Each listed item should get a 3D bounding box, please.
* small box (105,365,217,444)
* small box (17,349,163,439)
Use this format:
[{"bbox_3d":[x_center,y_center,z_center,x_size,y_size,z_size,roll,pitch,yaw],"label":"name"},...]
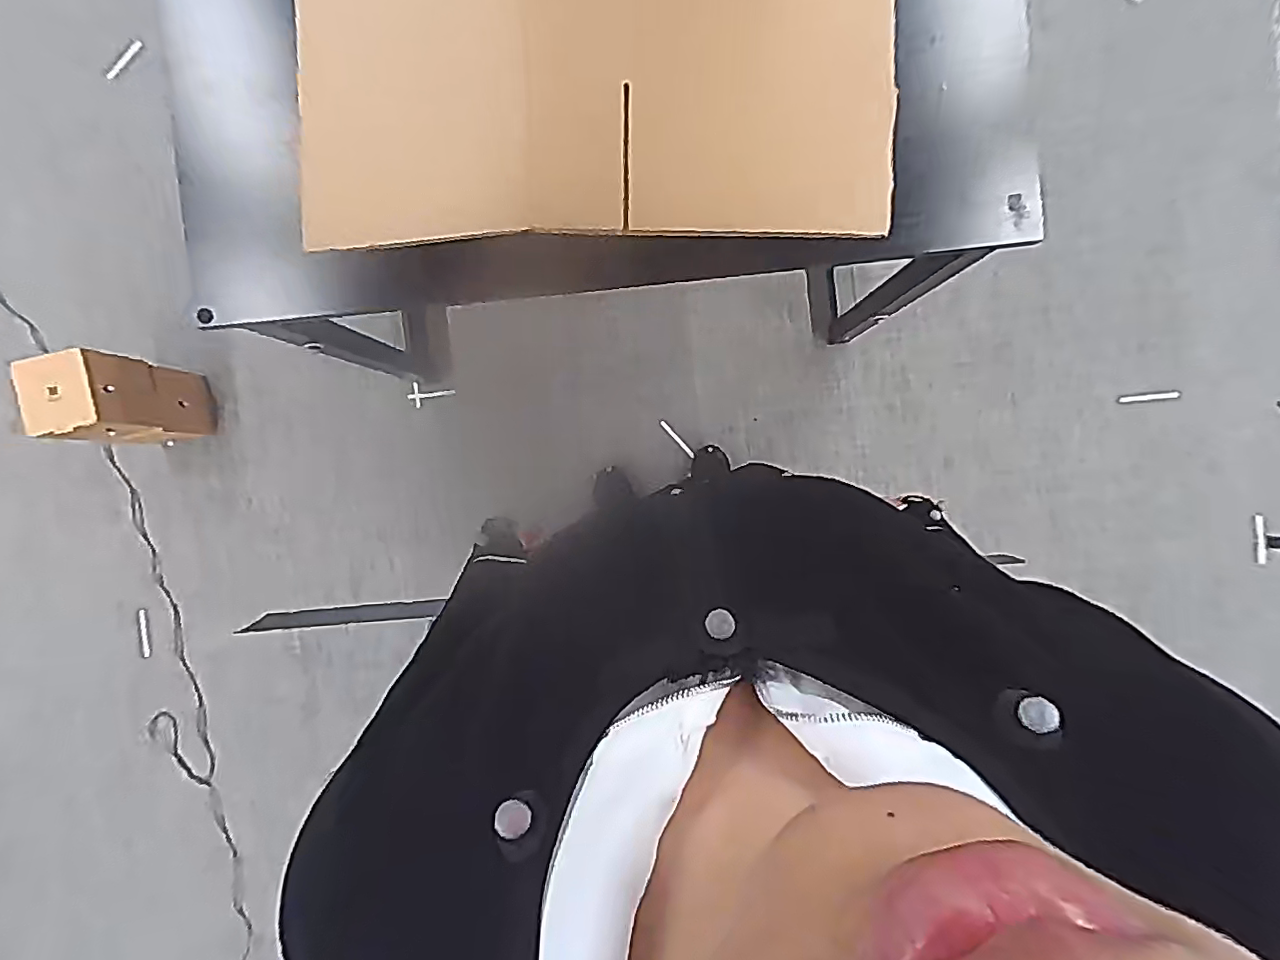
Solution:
[{"bbox_3d":[-1.291,-0.196,1.452,0.168,0.176,0.179,-10,92,2],"label":"small box"},{"bbox_3d":[-1.297,-0.197,1.289,0.168,0.176,0.179,-12,91,1],"label":"small box"}]
